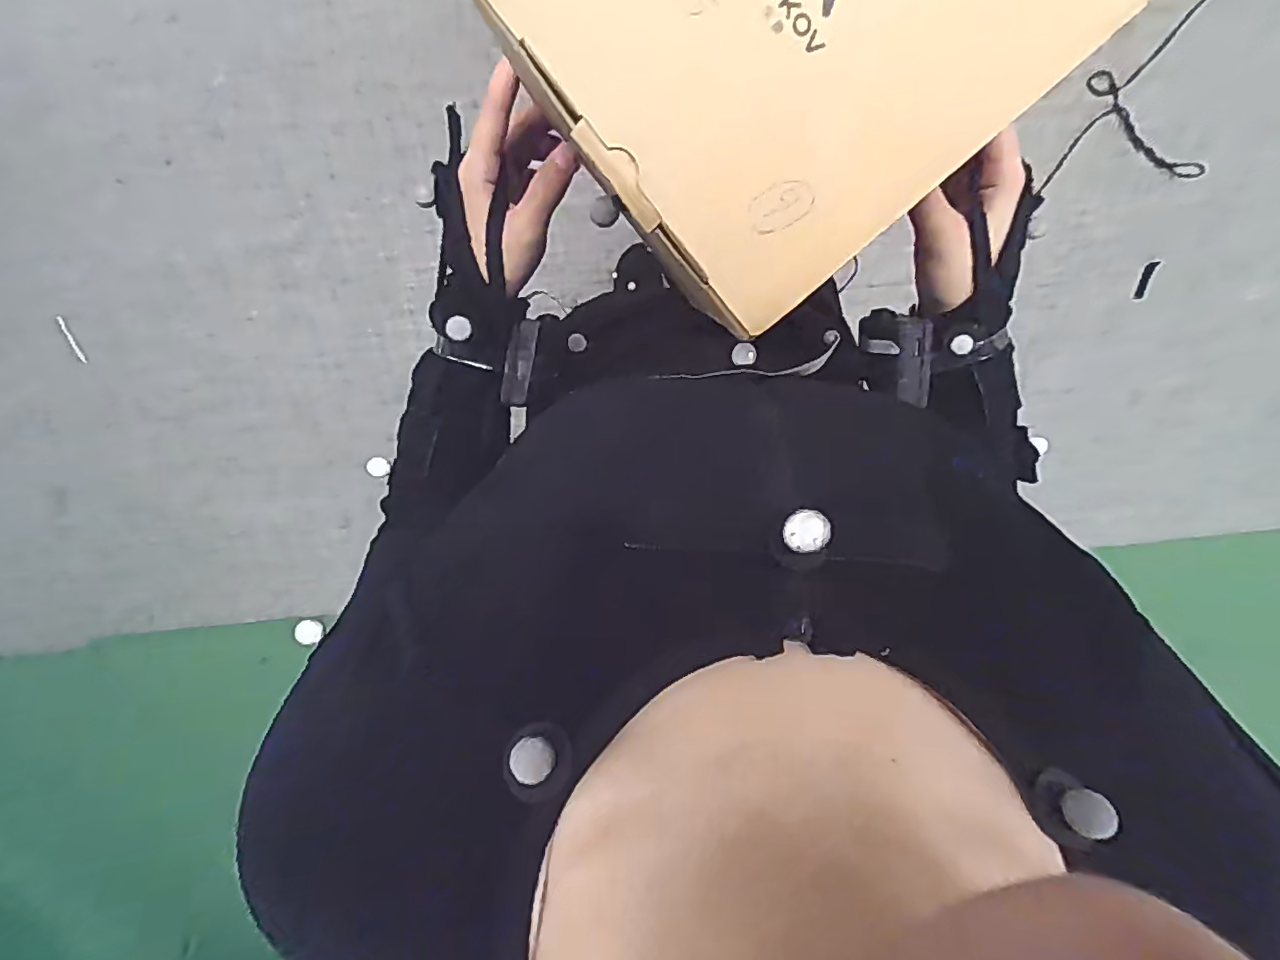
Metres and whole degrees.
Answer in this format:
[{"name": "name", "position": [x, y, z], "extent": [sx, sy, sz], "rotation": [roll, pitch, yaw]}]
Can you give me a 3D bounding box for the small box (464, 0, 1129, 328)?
[{"name": "small box", "position": [0.052, -0.199, 0.255], "extent": [0.179, 0.176, 0.168], "rotation": [-39, 108, 14]}]
